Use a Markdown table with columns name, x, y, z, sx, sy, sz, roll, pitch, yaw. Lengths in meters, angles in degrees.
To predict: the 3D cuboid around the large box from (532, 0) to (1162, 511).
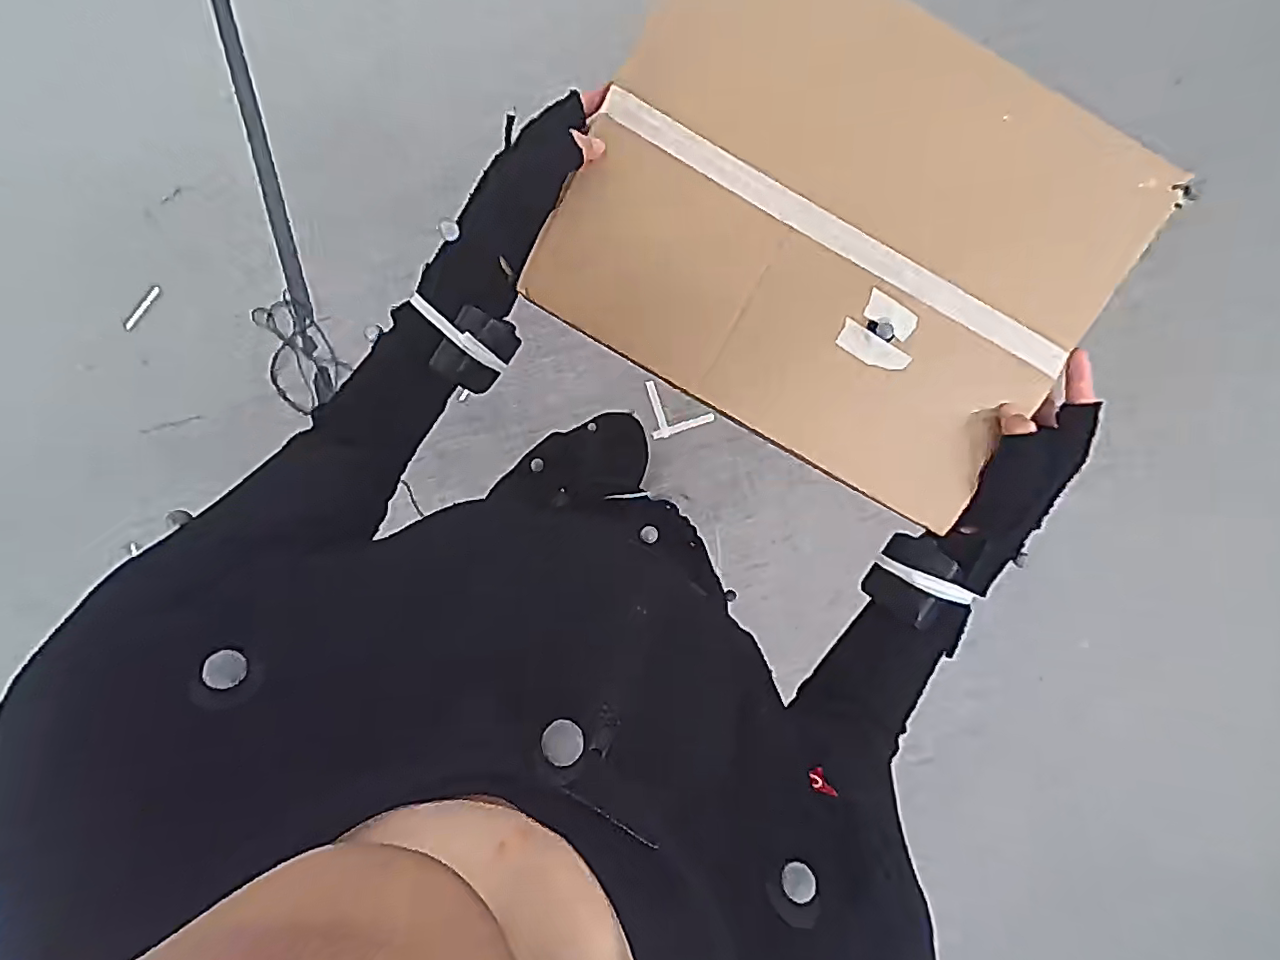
| name | x | y | z | sx | sy | sz | roll | pitch | yaw |
| --- | --- | --- | --- | --- | --- | --- | --- | --- | --- |
| large box | 0.158 | -0.221 | 0.572 | 0.408 | 0.320 | 0.320 | 30 | 101 | -3 |
